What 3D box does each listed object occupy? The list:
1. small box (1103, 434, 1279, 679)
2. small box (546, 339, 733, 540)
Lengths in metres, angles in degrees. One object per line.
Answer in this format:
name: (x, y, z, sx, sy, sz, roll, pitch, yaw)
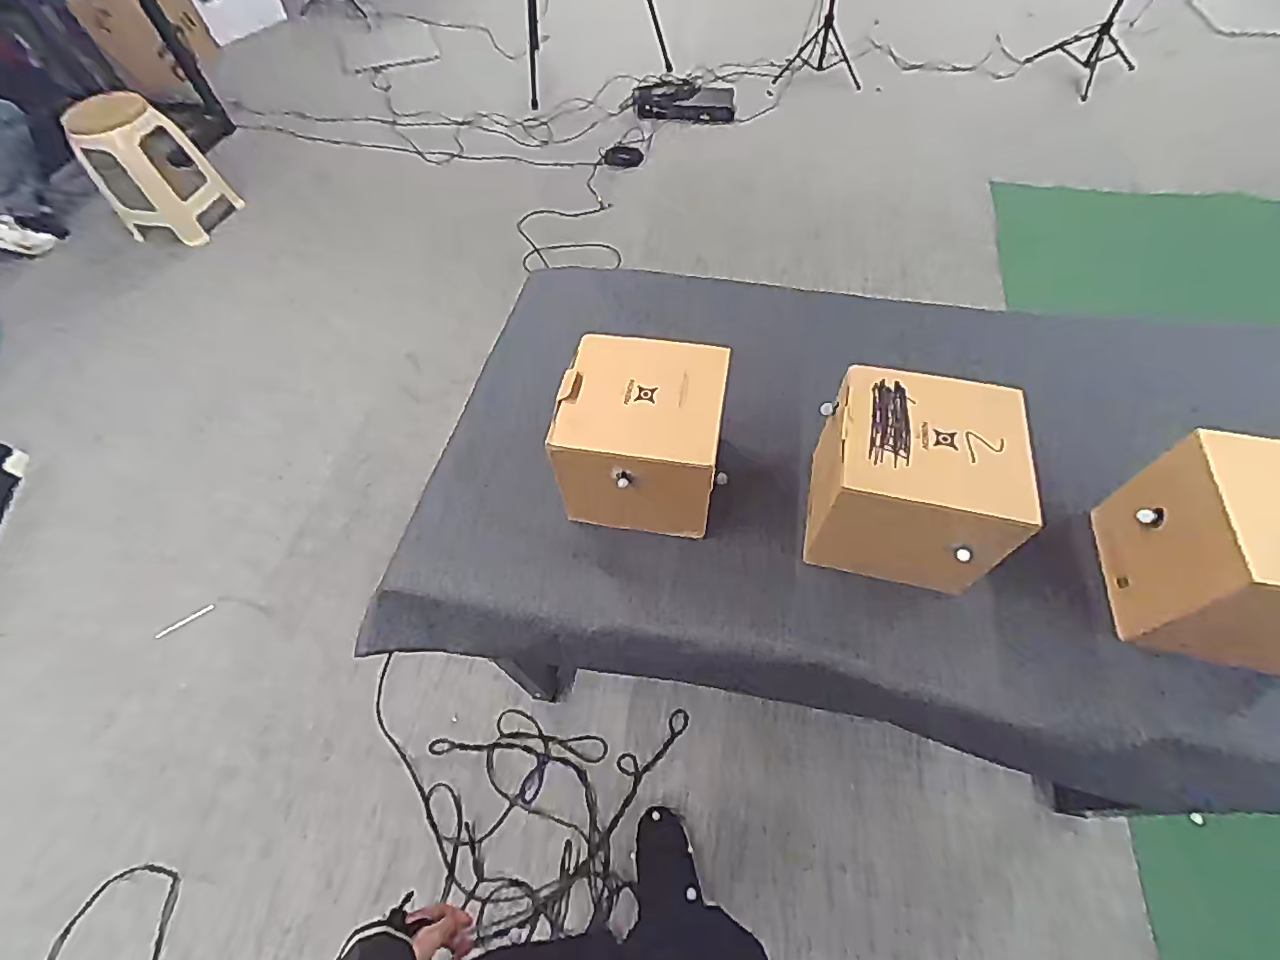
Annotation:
small box: (0.603, 0.081, 0.529, 0.179, 0.176, 0.168, 10, 58, 10)
small box: (0.007, -0.043, 0.647, 0.179, 0.176, 0.168, 9, 58, 8)
